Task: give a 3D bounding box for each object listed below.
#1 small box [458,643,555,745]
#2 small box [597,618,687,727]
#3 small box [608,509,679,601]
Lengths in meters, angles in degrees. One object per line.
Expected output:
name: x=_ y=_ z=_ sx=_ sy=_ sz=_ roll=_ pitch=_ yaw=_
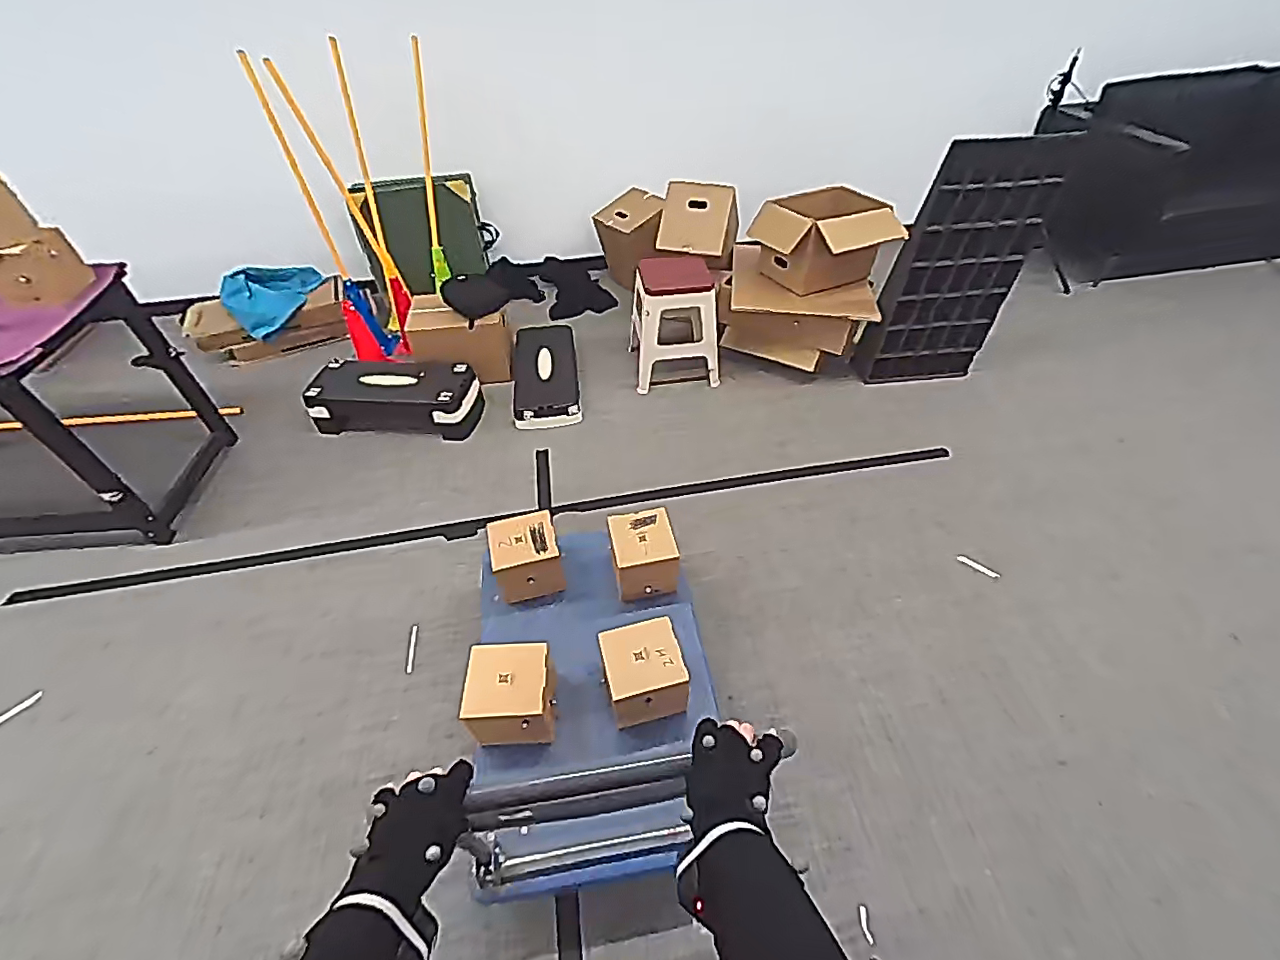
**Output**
small box: x=-0.296 y=0.492 z=1.236 sx=0.179 sy=0.176 sz=0.168 roll=-2 pitch=46 yaw=-2
small box: x=0.005 y=0.453 z=1.265 sx=0.179 sy=0.176 sz=0.168 roll=-11 pitch=47 yaw=-9
small box: x=0.007 y=0.208 z=1.501 sx=0.168 sy=0.176 sz=0.179 roll=-9 pitch=48 yaw=-7
